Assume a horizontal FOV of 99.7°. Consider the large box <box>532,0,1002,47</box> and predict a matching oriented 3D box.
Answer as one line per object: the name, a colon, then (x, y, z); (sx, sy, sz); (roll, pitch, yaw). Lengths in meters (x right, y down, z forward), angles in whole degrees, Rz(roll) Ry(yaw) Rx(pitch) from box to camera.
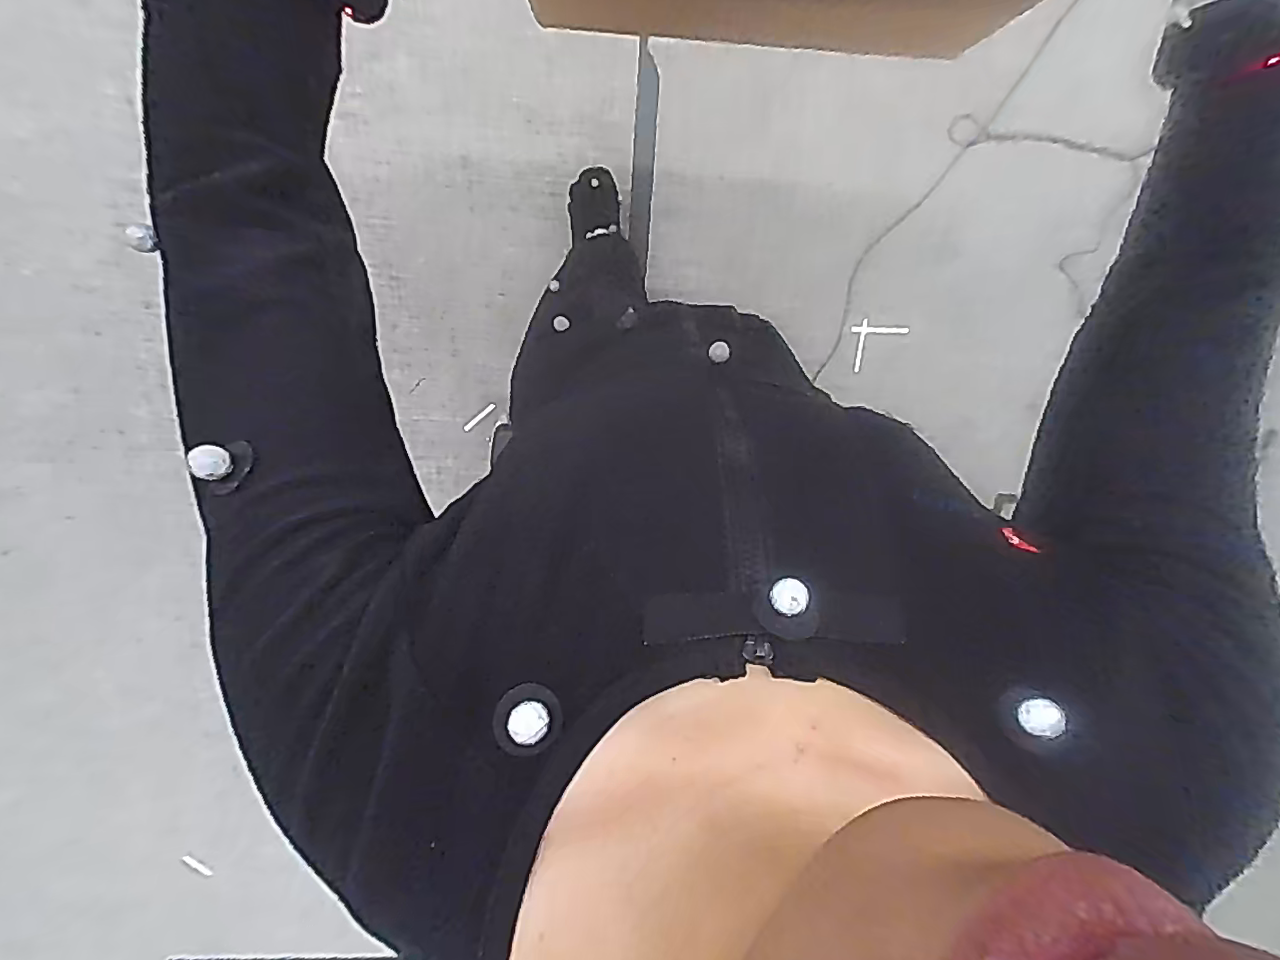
large box: (0.109, -0.516, 0.330); (0.408, 0.320, 0.320); (2, 111, -3)
